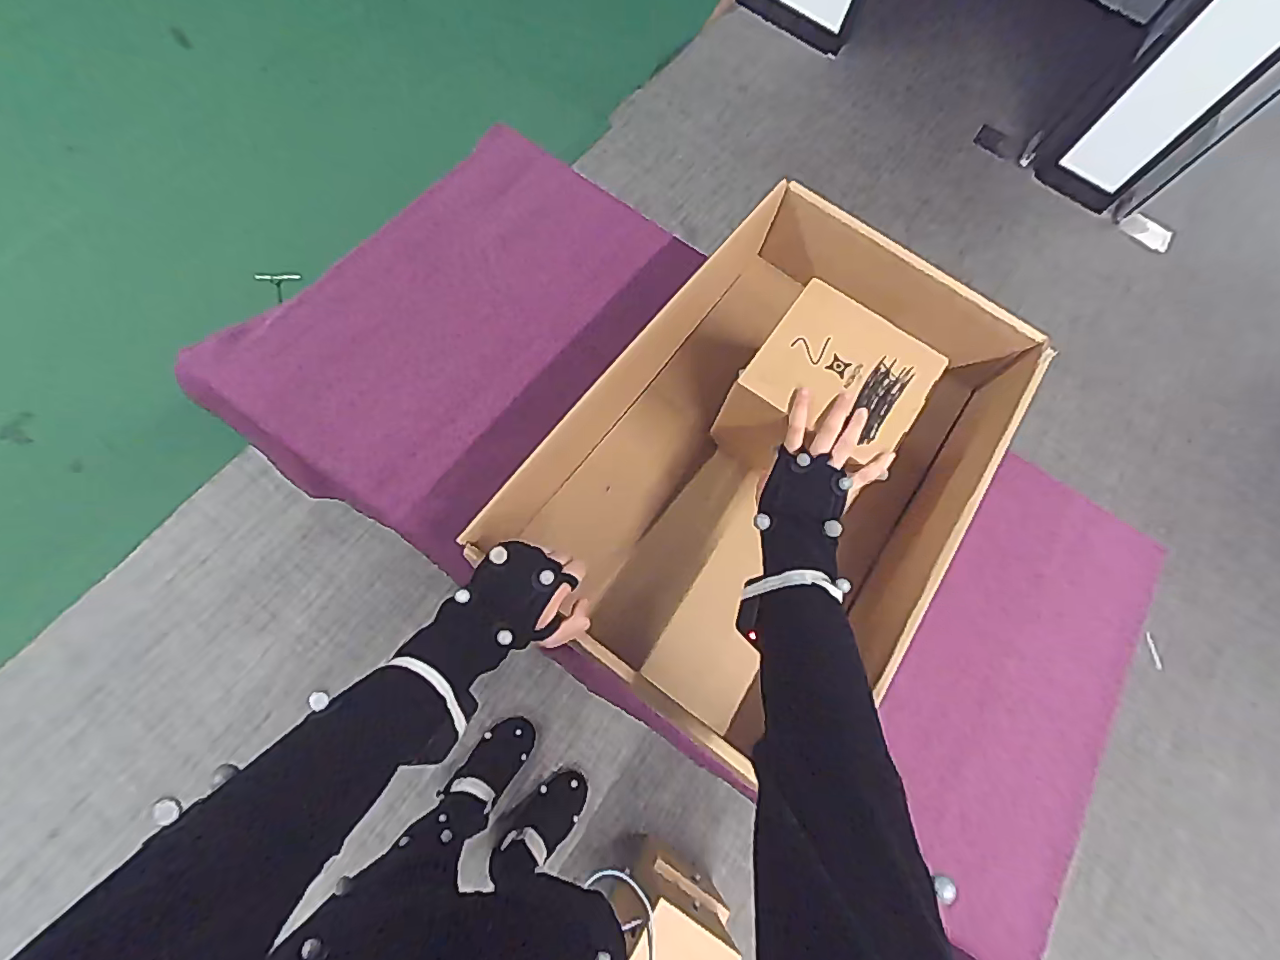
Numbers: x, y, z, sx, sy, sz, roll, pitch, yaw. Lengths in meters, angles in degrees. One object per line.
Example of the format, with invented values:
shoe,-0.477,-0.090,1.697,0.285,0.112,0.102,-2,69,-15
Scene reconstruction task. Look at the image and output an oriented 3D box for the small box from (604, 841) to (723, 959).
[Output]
small box,0.042,0.891,1.117,0.179,0.176,0.168,34,70,6
